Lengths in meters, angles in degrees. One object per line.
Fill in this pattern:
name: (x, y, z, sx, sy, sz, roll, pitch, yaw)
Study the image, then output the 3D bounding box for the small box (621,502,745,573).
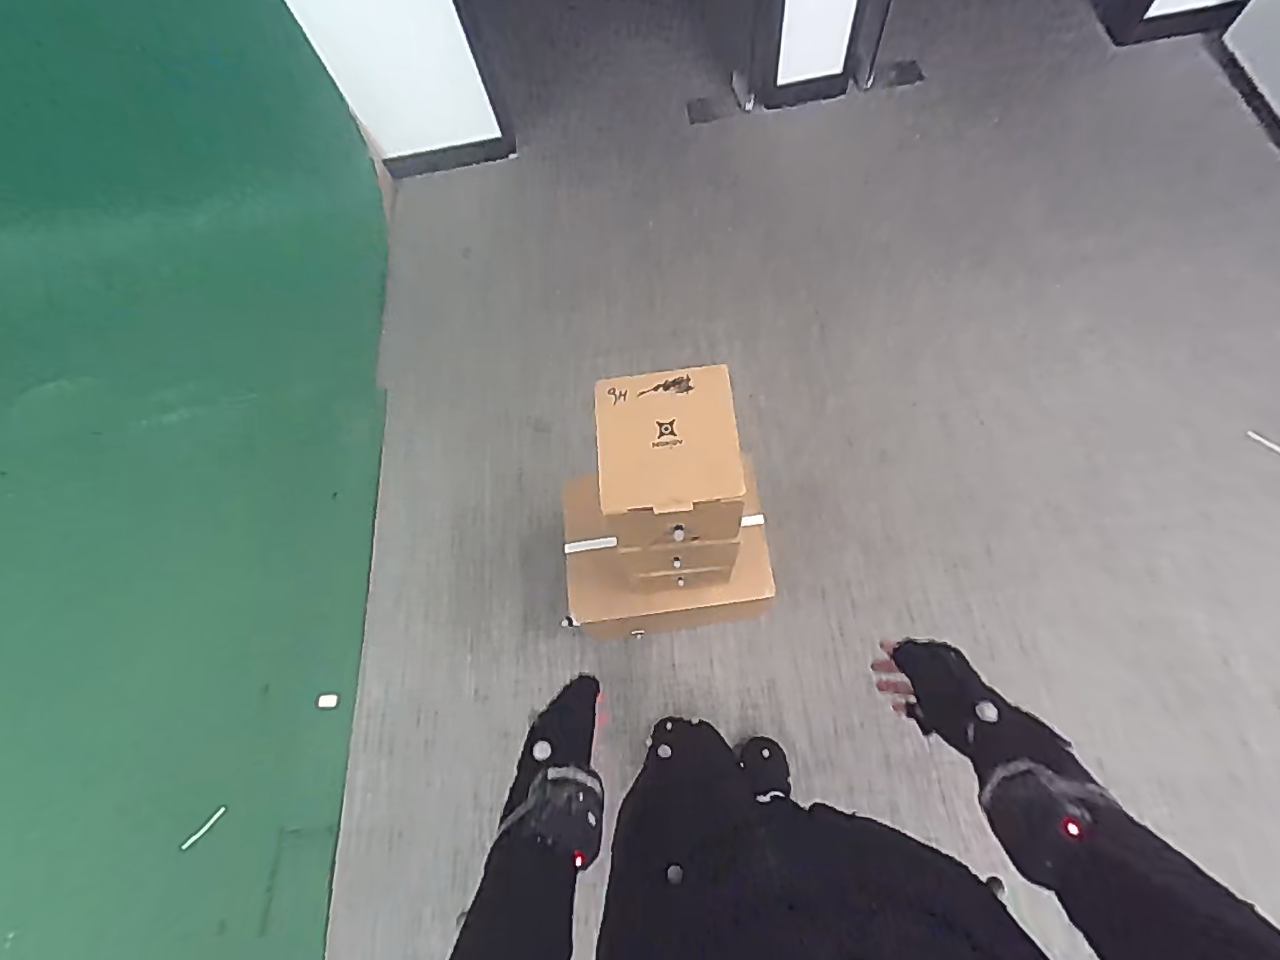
small box: (0.060, 0.045, 0.854, 0.179, 0.176, 0.168, -8, 69, 4)

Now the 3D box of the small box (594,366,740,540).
small box: (0.040, -0.022, 0.706, 0.168, 0.176, 0.179, -6, 70, 6)

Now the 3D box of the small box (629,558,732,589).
small box: (0.072, 0.104, 1.006, 0.179, 0.176, 0.168, -7, 70, 4)
